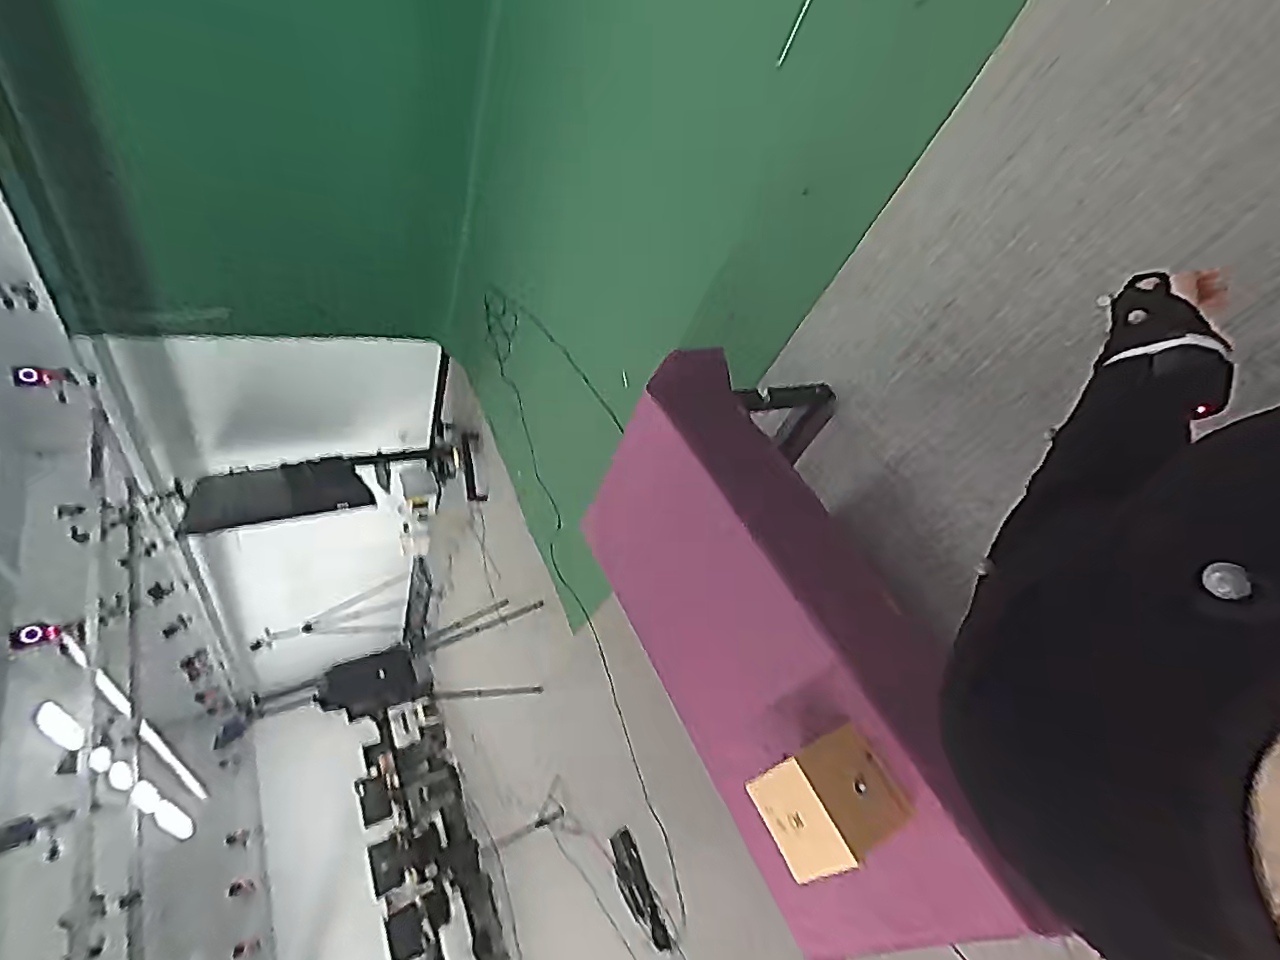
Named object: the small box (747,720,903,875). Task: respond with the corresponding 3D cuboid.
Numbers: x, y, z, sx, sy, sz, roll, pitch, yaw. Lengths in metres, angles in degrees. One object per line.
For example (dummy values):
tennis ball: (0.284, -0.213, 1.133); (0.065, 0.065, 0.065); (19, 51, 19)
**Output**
small box: (0.332, 0.557, 0.961); (0.168, 0.176, 0.179); (59, 141, 30)
